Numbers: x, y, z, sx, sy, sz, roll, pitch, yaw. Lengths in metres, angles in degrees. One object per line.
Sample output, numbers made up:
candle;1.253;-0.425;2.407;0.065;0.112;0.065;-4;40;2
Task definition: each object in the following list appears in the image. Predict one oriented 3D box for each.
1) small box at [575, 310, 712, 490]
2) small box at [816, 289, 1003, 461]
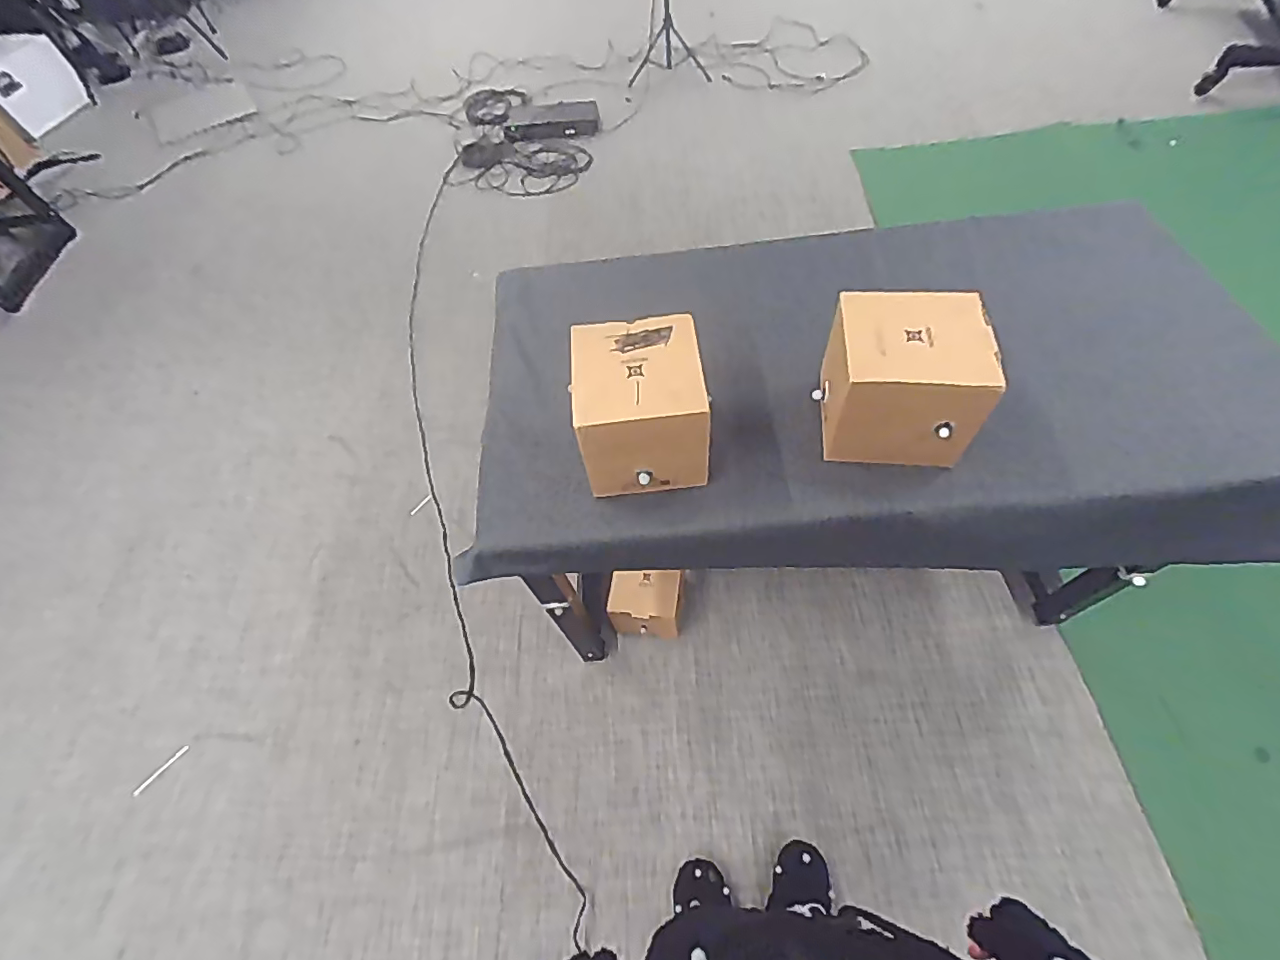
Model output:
small box;0.004;-0.107;0.753;0.168;0.176;0.179;-6;58;1
small box;0.352;-0.139;0.744;0.179;0.176;0.168;3;57;8
